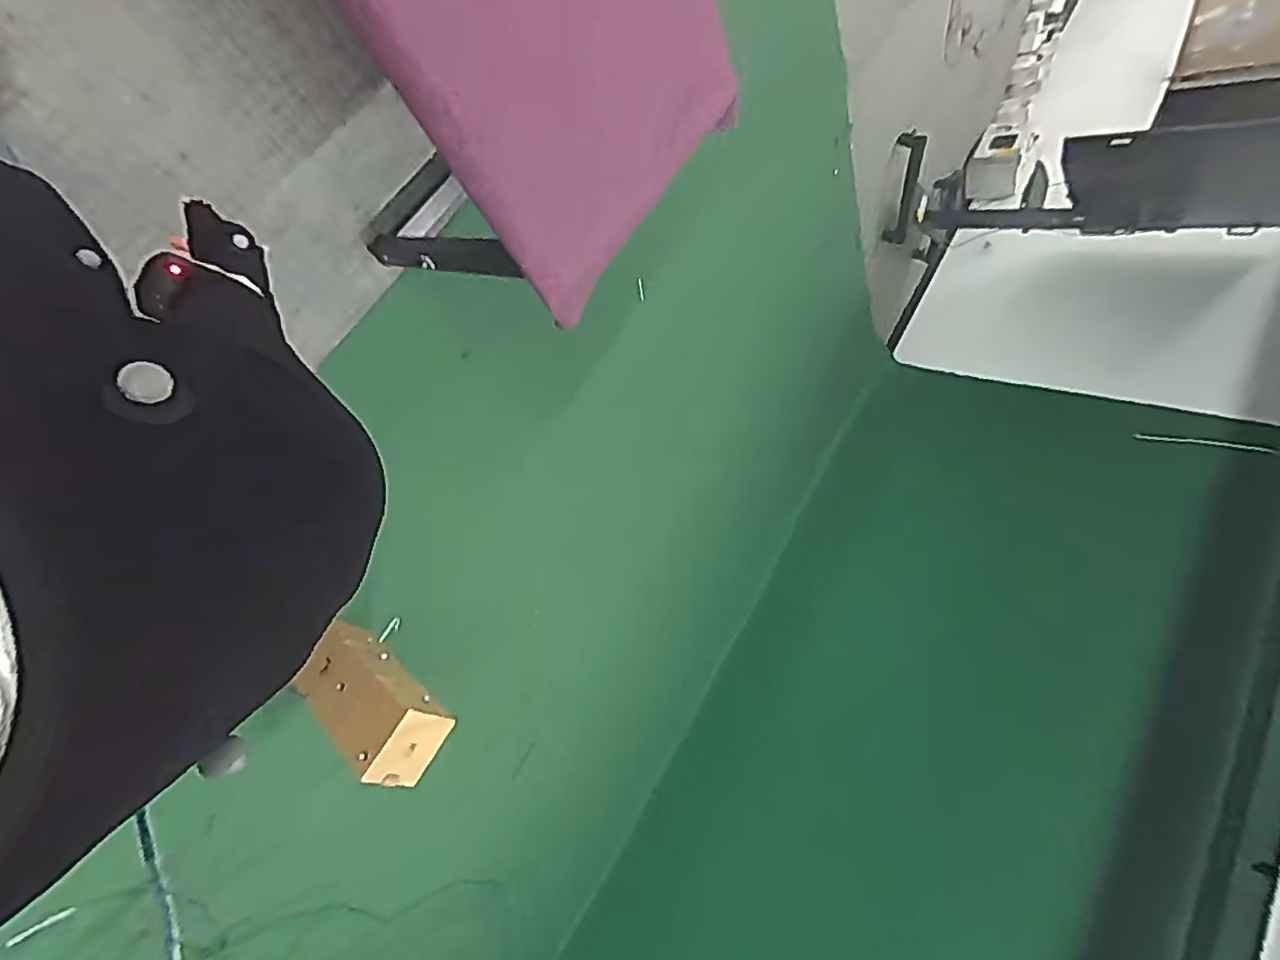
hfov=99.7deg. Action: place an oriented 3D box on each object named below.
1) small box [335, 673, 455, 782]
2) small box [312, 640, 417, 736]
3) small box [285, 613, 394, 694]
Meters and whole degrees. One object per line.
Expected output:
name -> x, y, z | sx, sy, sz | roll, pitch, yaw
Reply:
small box -> -0.601, 0.600, 1.321 | 0.179, 0.176, 0.168 | -57, 142, -13
small box -> -0.721, 0.554, 1.416 | 0.179, 0.176, 0.168 | -54, 143, -15
small box -> -0.842, 0.497, 1.515 | 0.168, 0.176, 0.179 | -57, 142, -15
